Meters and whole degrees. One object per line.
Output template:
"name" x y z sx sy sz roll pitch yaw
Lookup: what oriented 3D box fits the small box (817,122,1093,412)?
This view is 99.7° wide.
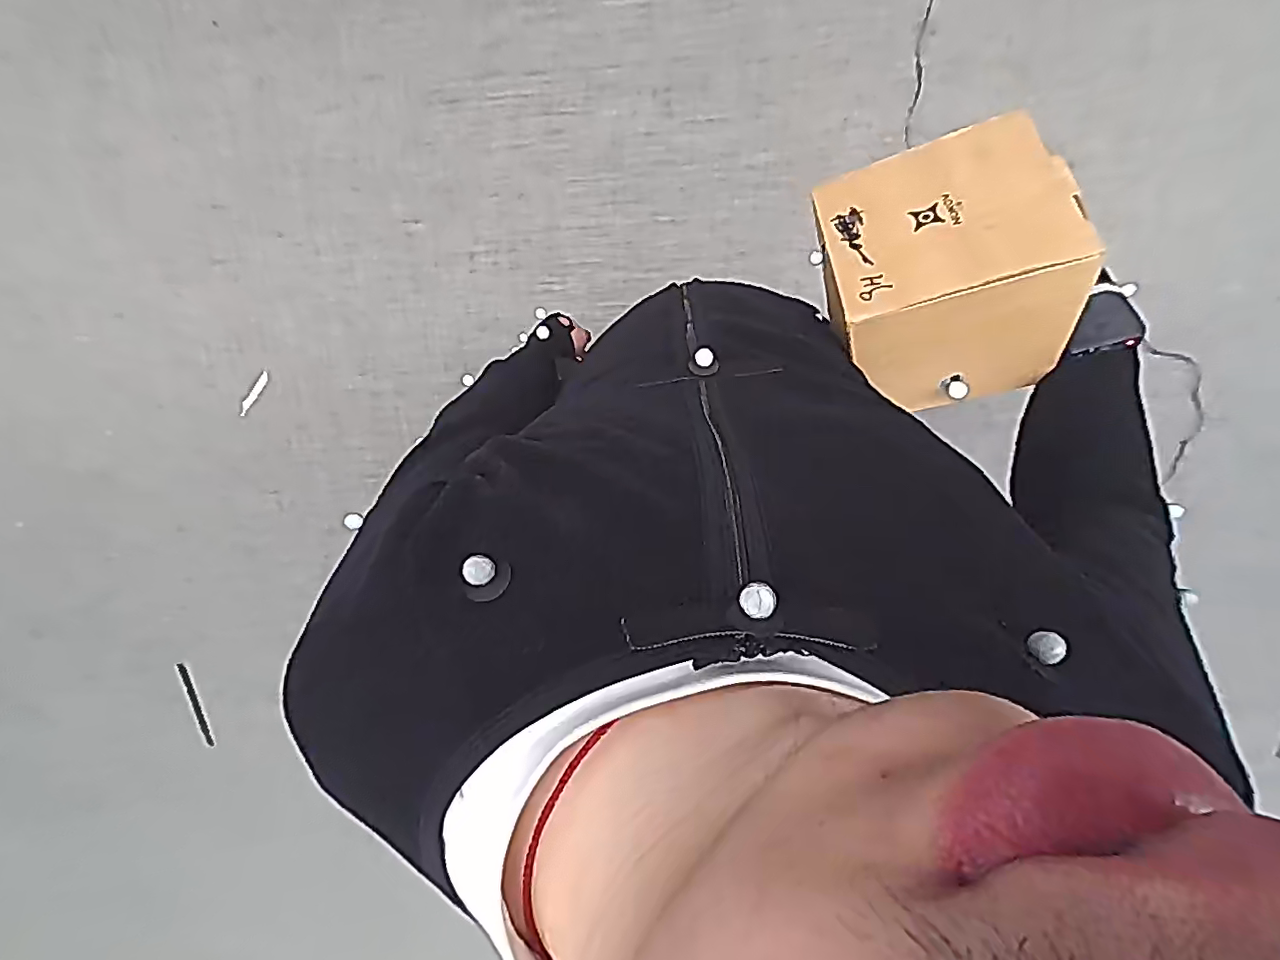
"small box" 0.280 -0.188 0.524 0.179 0.176 0.168 -12 62 19
